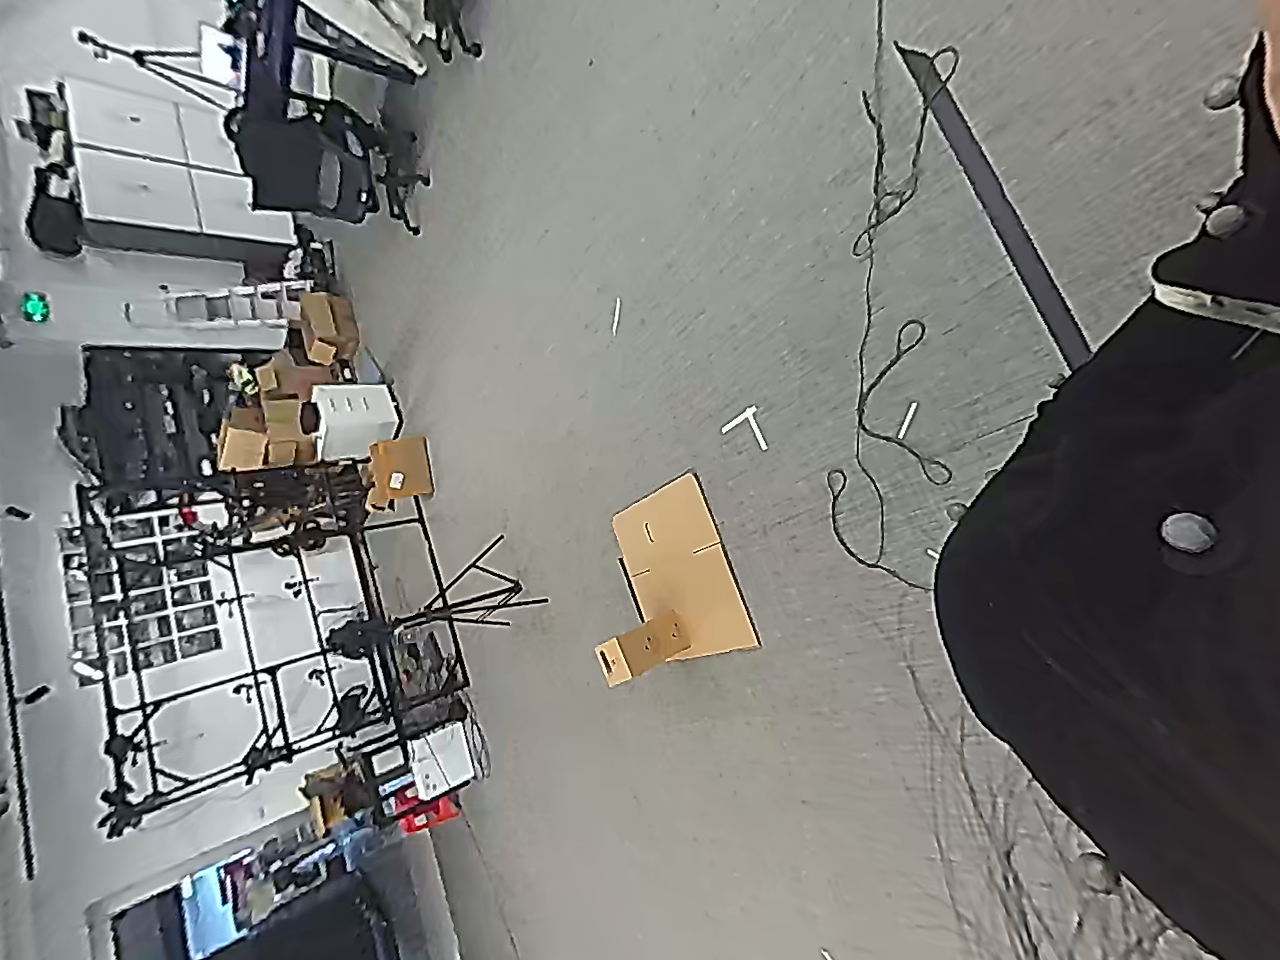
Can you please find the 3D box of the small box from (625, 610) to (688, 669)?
[{"bbox_3d":[0.071,0.667,2.271,0.179,0.176,0.168,-45,65,44],"label":"small box"}]
